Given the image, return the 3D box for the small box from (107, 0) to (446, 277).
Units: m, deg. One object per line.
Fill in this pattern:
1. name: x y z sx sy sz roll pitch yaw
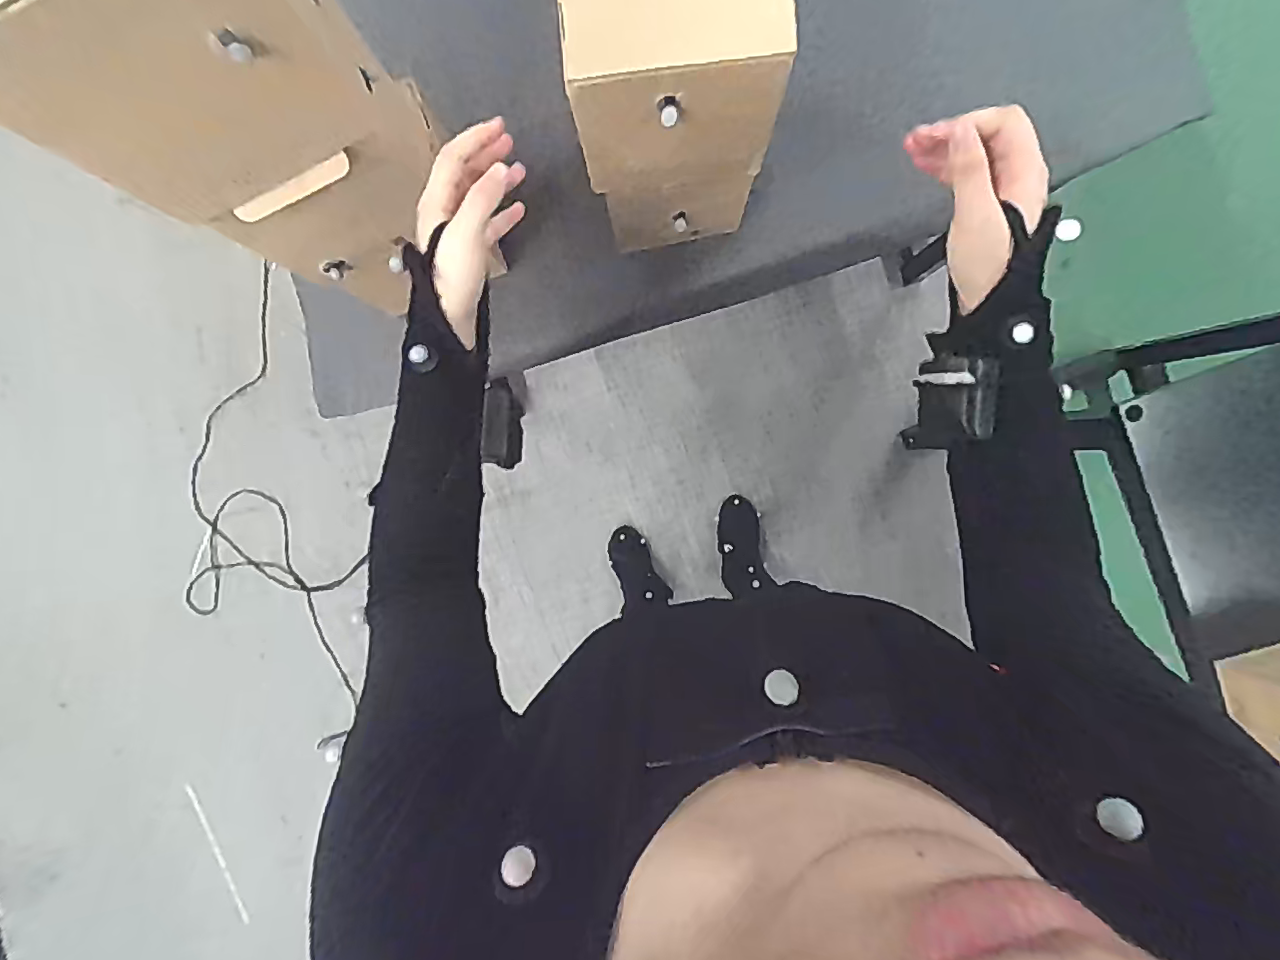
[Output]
1. small box: -0.313 -0.315 0.506 0.168 0.176 0.179 -25 89 4

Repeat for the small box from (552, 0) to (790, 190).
1. small box: 0.024 -0.387 0.481 0.179 0.176 0.168 -5 92 5

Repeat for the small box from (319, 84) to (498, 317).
1. small box: -0.294 -0.326 0.669 0.179 0.176 0.168 -21 90 5

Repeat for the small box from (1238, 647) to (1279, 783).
1. small box: 0.872 0.296 0.632 0.179 0.176 0.168 -18 93 4

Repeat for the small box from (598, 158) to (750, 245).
1. small box: 0.029 -0.401 0.644 0.168 0.176 0.179 -10 92 5
